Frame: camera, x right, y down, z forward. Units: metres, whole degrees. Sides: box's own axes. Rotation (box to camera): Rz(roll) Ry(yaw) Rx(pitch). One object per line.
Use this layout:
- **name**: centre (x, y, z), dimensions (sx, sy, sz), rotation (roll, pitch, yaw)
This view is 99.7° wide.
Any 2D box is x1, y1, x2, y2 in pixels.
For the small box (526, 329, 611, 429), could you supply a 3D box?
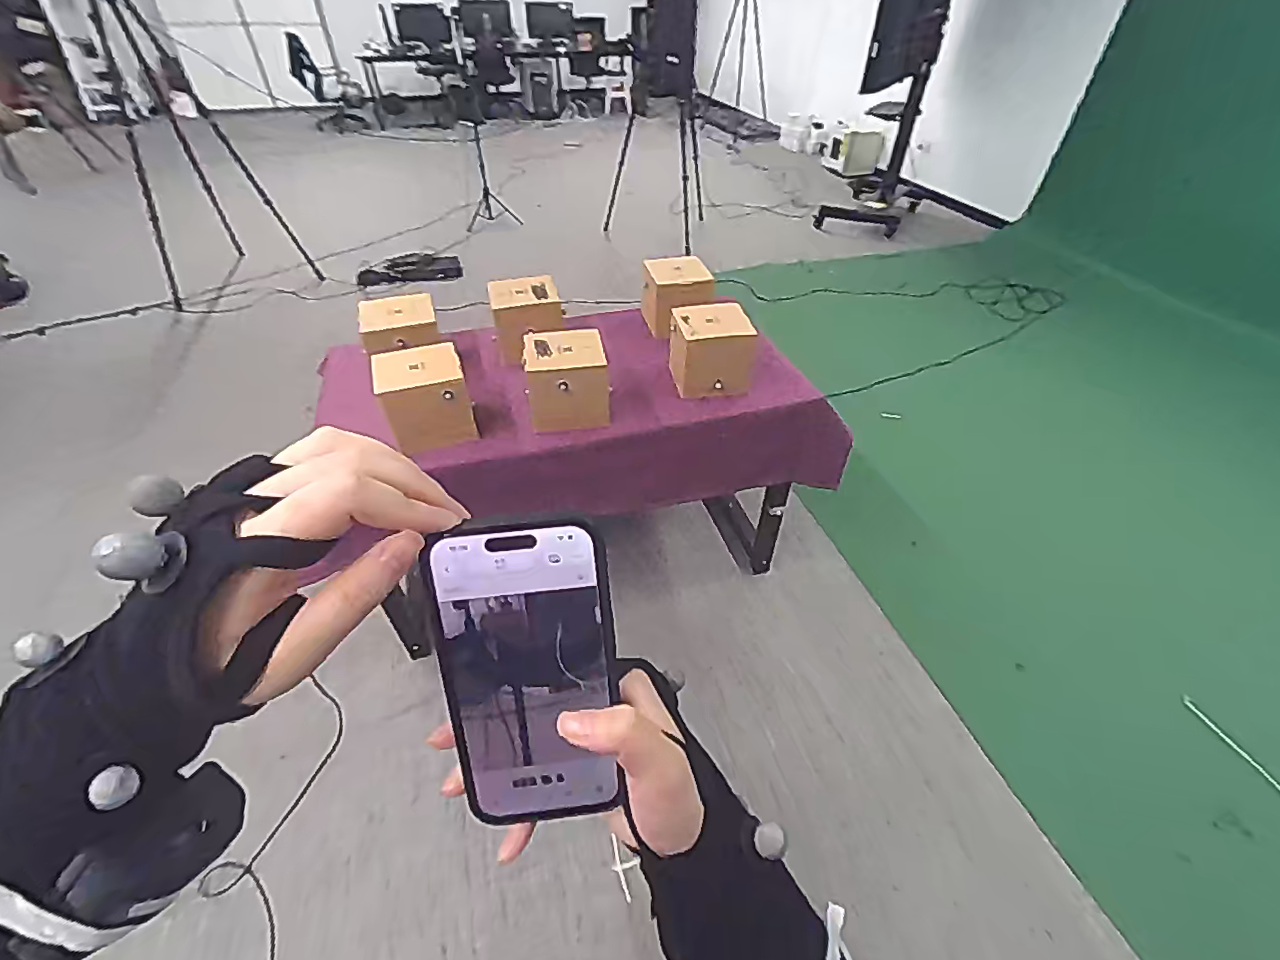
- **small box**: centre (-0.166, -0.232, 1.258), dimensions (0.179, 0.176, 0.168), rotation (-6, 44, -8)

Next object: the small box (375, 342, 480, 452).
- **small box**: centre (-0.470, -0.182, 1.203), dimensions (0.179, 0.176, 0.168), rotation (-14, 45, -17)

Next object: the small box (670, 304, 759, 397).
- **small box**: centre (0.179, -0.324, 1.359), dimensions (0.179, 0.176, 0.168), rotation (-6, 43, -7)

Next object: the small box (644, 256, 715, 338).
- **small box**: centre (0.107, -0.535, 1.580), dimensions (0.168, 0.176, 0.179), rotation (-9, 45, -9)
